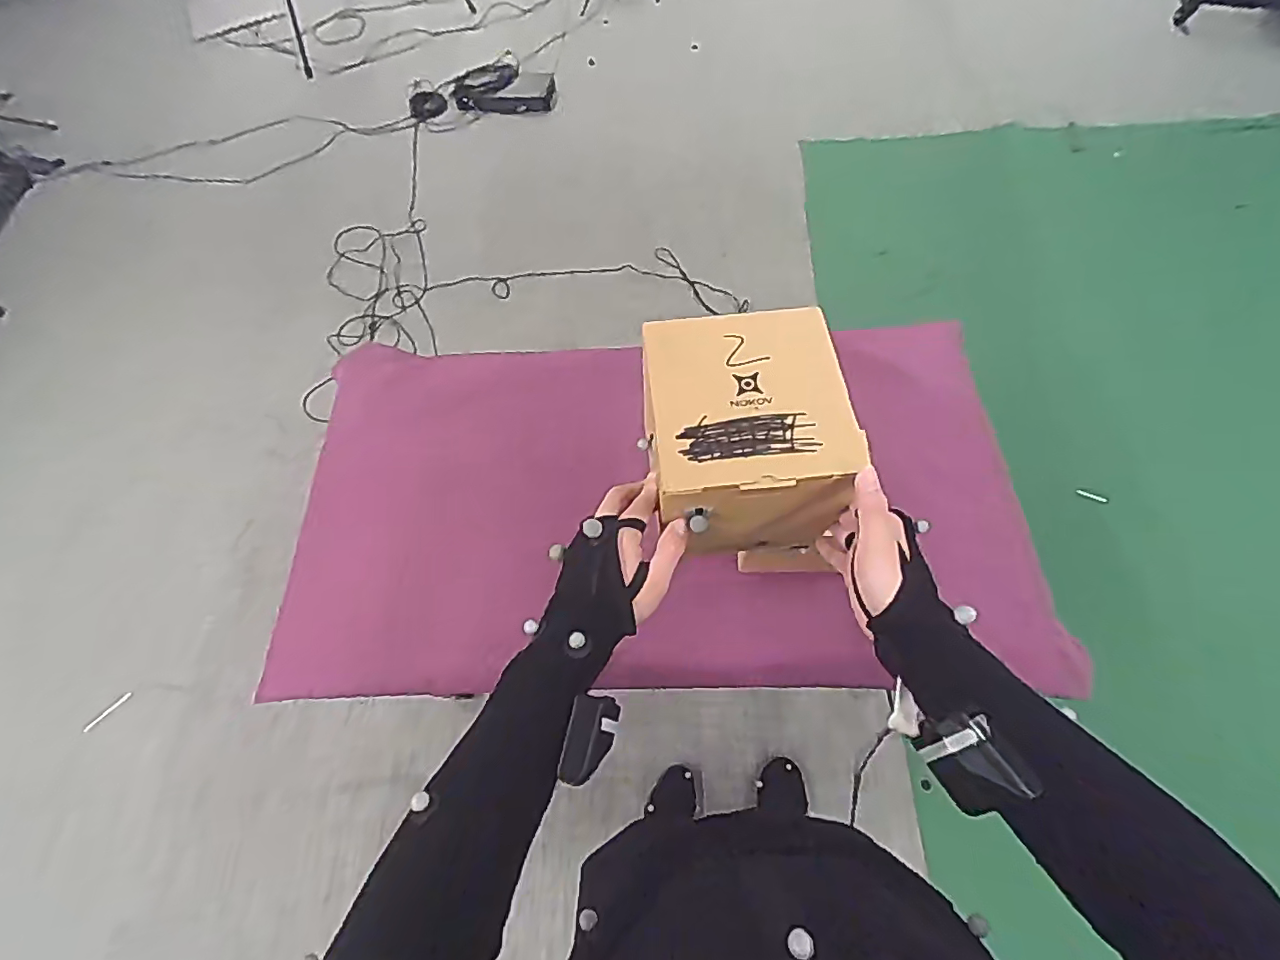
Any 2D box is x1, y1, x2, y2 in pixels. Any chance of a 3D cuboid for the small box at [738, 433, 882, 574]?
[{"bbox_3d":[0.242,0.041,0.822,0.179,0.176,0.168,0,64,4],"label":"small box"}]
